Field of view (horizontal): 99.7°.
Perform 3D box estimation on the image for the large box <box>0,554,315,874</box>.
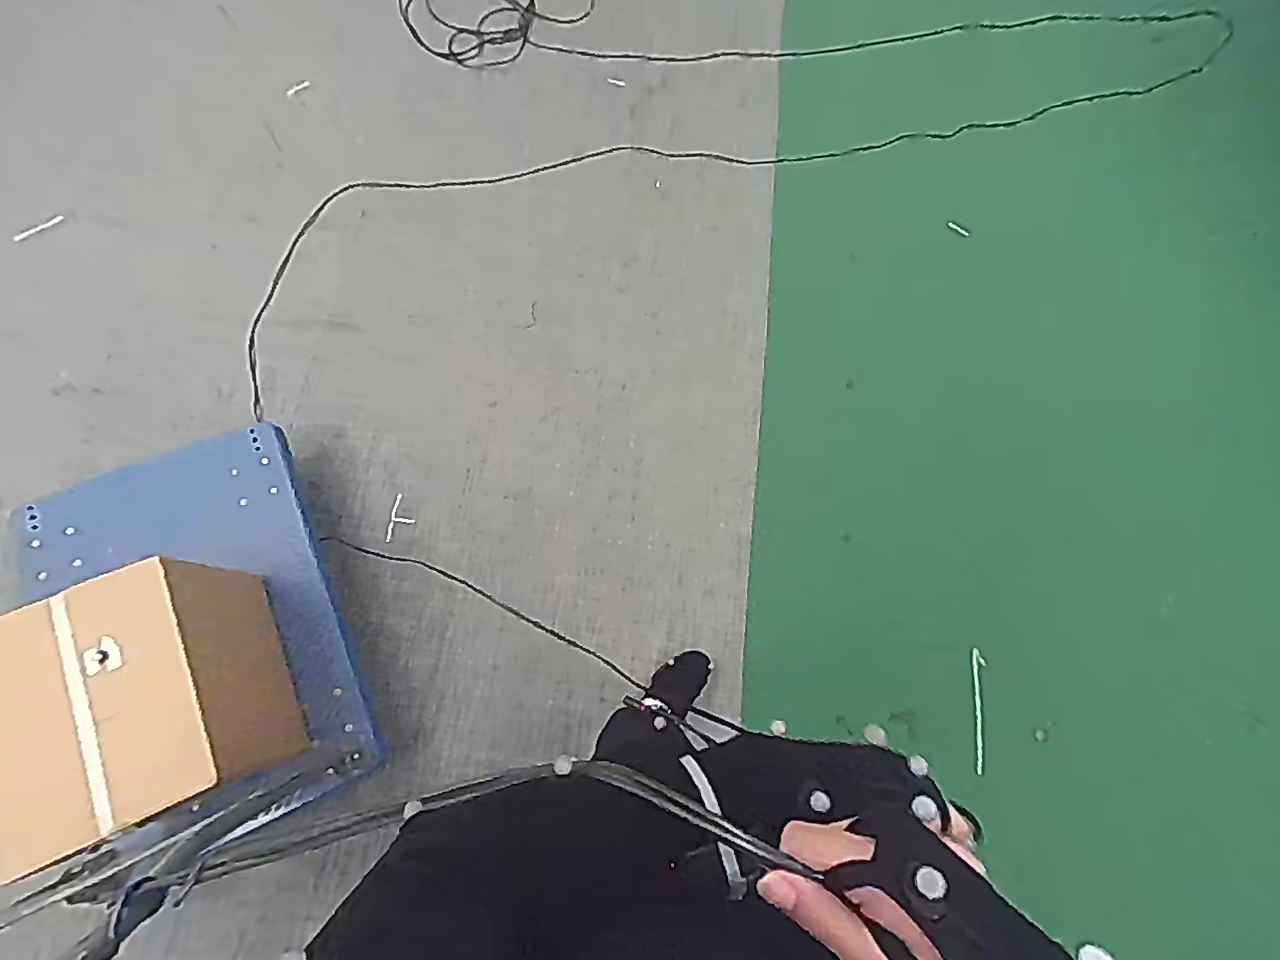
[{"bbox_3d":[-0.895,0.402,1.019,0.320,0.320,0.408,-24,76,-12],"label":"large box"}]
